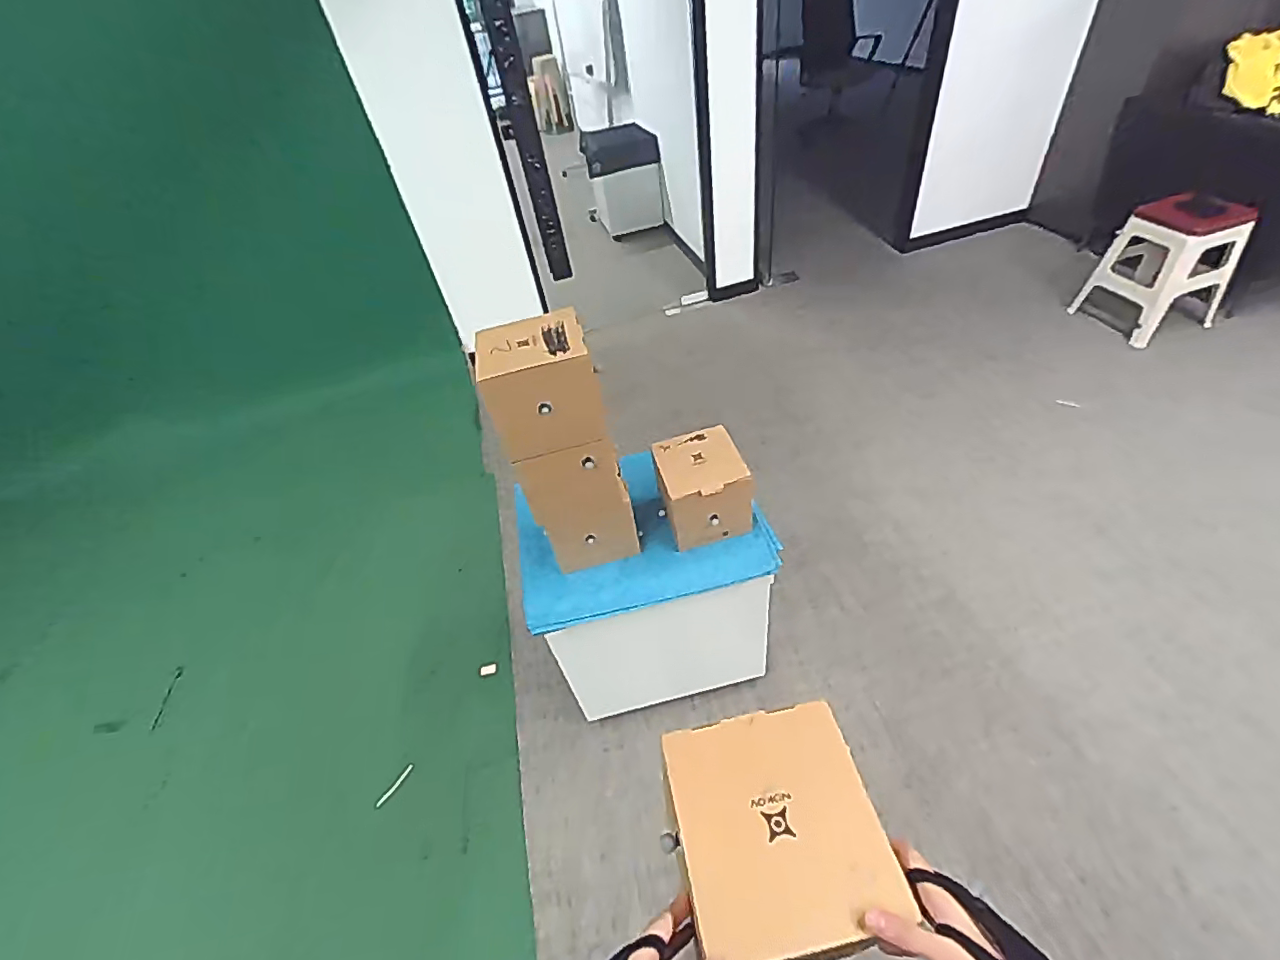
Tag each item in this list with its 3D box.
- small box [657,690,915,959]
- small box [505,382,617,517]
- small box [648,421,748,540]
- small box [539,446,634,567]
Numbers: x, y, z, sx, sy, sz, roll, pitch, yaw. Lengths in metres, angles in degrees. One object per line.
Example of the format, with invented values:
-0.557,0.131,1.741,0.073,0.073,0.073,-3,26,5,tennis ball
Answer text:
0.116,0.329,0.505,0.168,0.176,0.179,-10,43,-5,small box
-0.145,-0.056,1.024,0.179,0.176,0.168,-15,44,-4,small box
0.123,0.009,1.144,0.168,0.176,0.179,-14,45,-4,small box
-0.115,0.057,1.140,0.179,0.176,0.168,-15,44,-4,small box
